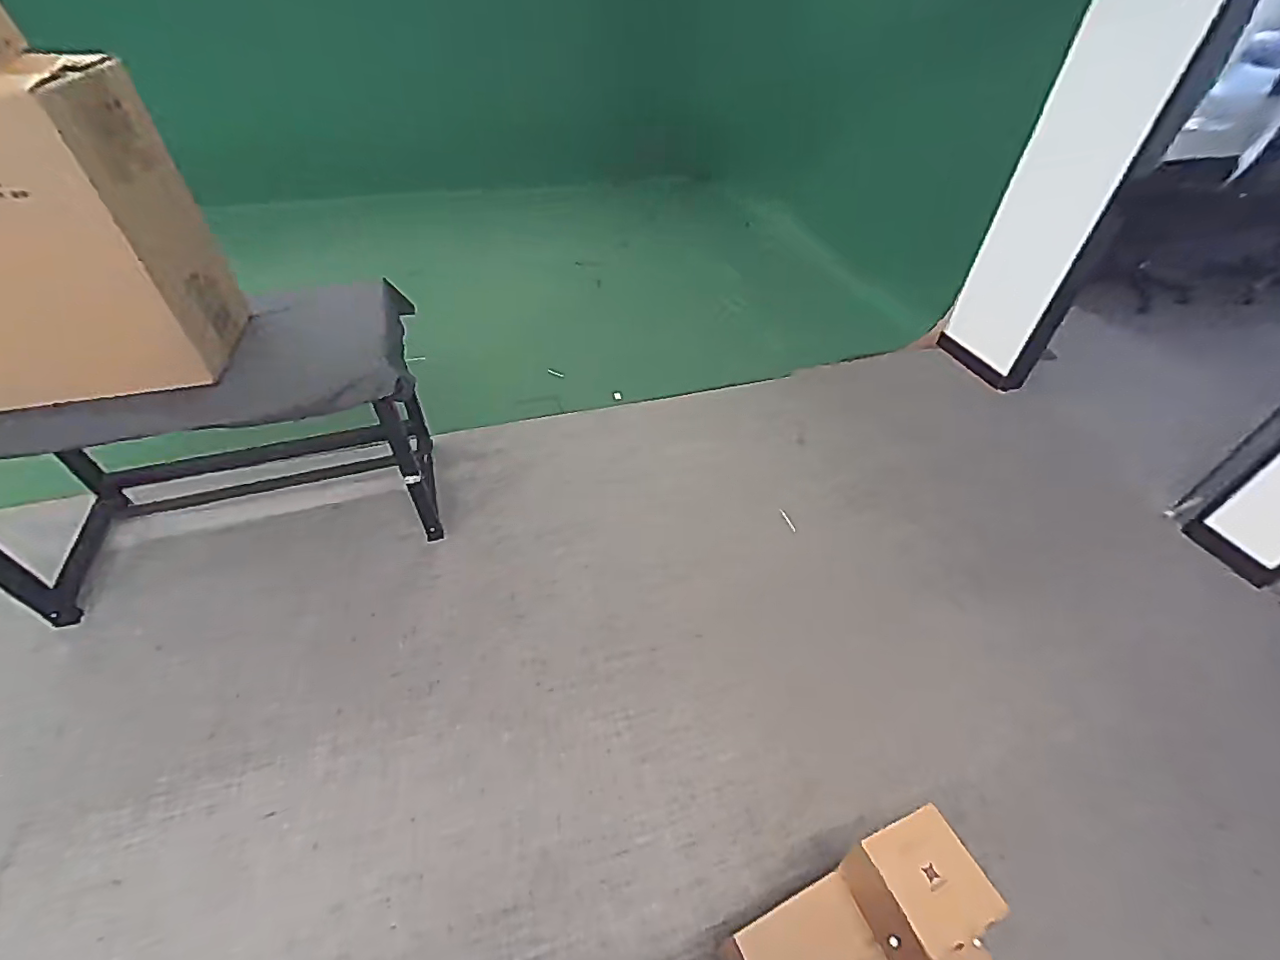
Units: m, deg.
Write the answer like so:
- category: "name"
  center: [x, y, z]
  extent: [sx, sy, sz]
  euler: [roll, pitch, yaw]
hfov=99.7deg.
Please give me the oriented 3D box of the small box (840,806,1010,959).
- category: "small box"
  center: [0.487, 0.724, 0.952]
  extent: [0.168, 0.176, 0.179]
  euler: [-15, 43, -18]

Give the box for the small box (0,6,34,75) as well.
- category: "small box"
  center: [-1.280, -0.831, 0.972]
  extent: [0.179, 0.176, 0.168]
  euler: [-10, 52, -10]
